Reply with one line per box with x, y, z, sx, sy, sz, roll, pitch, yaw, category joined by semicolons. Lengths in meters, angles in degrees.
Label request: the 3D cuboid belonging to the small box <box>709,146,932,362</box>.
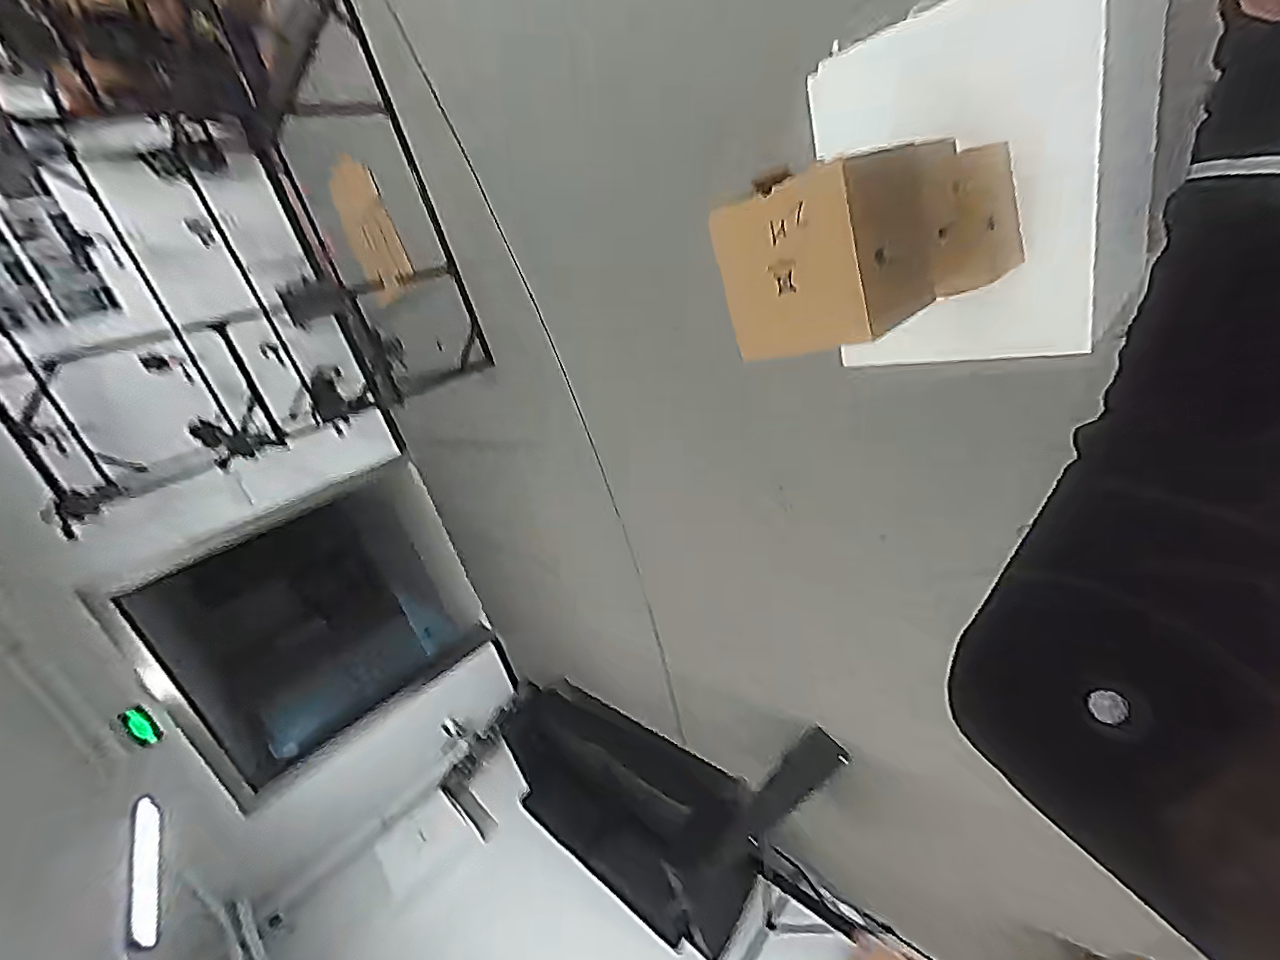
0.212;-0.253;0.620;0.168;0.176;0.179;3;118;49;small box

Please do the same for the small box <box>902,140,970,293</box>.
0.317;-0.328;0.723;0.179;0.176;0.168;0;116;51;small box

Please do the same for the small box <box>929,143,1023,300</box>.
0.448;-0.375;0.811;0.168;0.176;0.179;-2;113;51;small box
